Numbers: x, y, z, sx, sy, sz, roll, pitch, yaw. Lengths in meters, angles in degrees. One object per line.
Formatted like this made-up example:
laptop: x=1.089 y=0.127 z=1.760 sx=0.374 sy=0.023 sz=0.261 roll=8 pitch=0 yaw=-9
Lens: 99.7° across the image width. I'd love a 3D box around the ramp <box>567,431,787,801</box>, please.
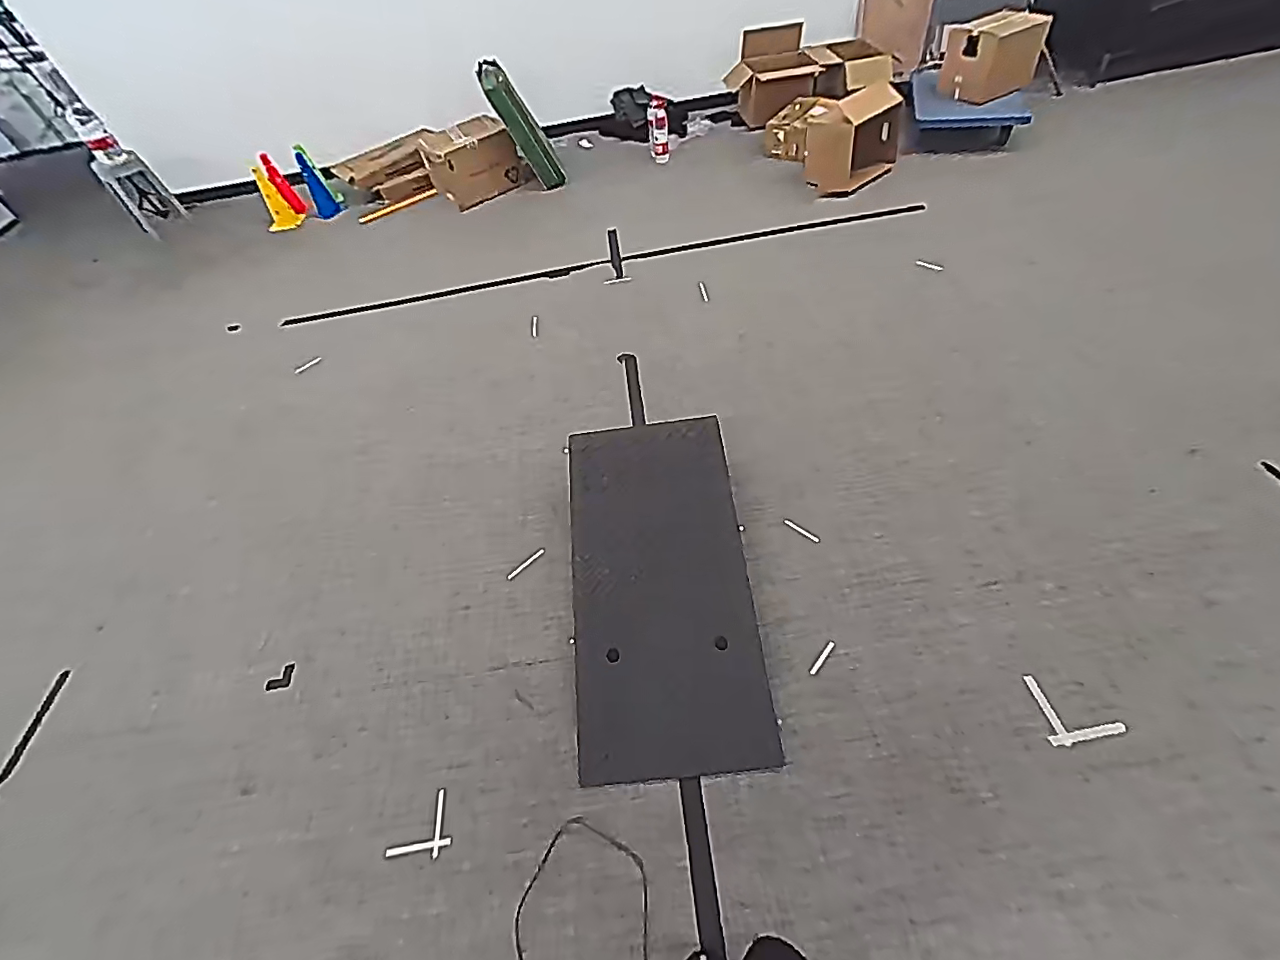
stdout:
ramp: x=0.058 y=0.303 z=1.528 sx=0.509 sy=0.206 sz=0.991 roll=-9 pitch=50 yaw=1
